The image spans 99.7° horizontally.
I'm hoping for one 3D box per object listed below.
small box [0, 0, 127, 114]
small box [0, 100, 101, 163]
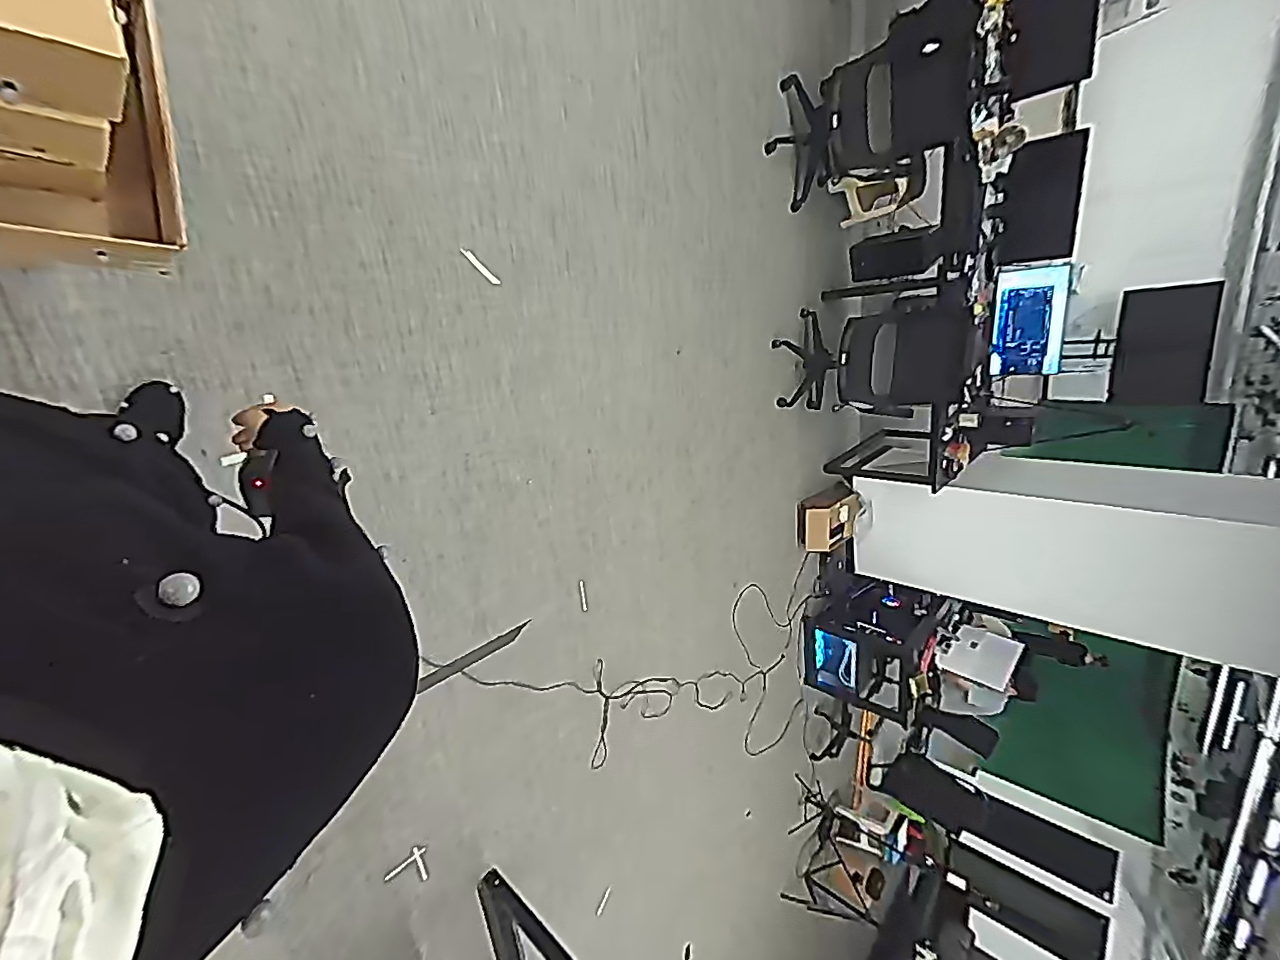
[{"bbox_3d":[-0.622,-0.474,0.503,0.179,0.176,0.168,-16,107,-45],"label":"small box"},{"bbox_3d":[-0.742,-0.489,0.613,0.168,0.176,0.179,-13,105,-45],"label":"small box"}]
